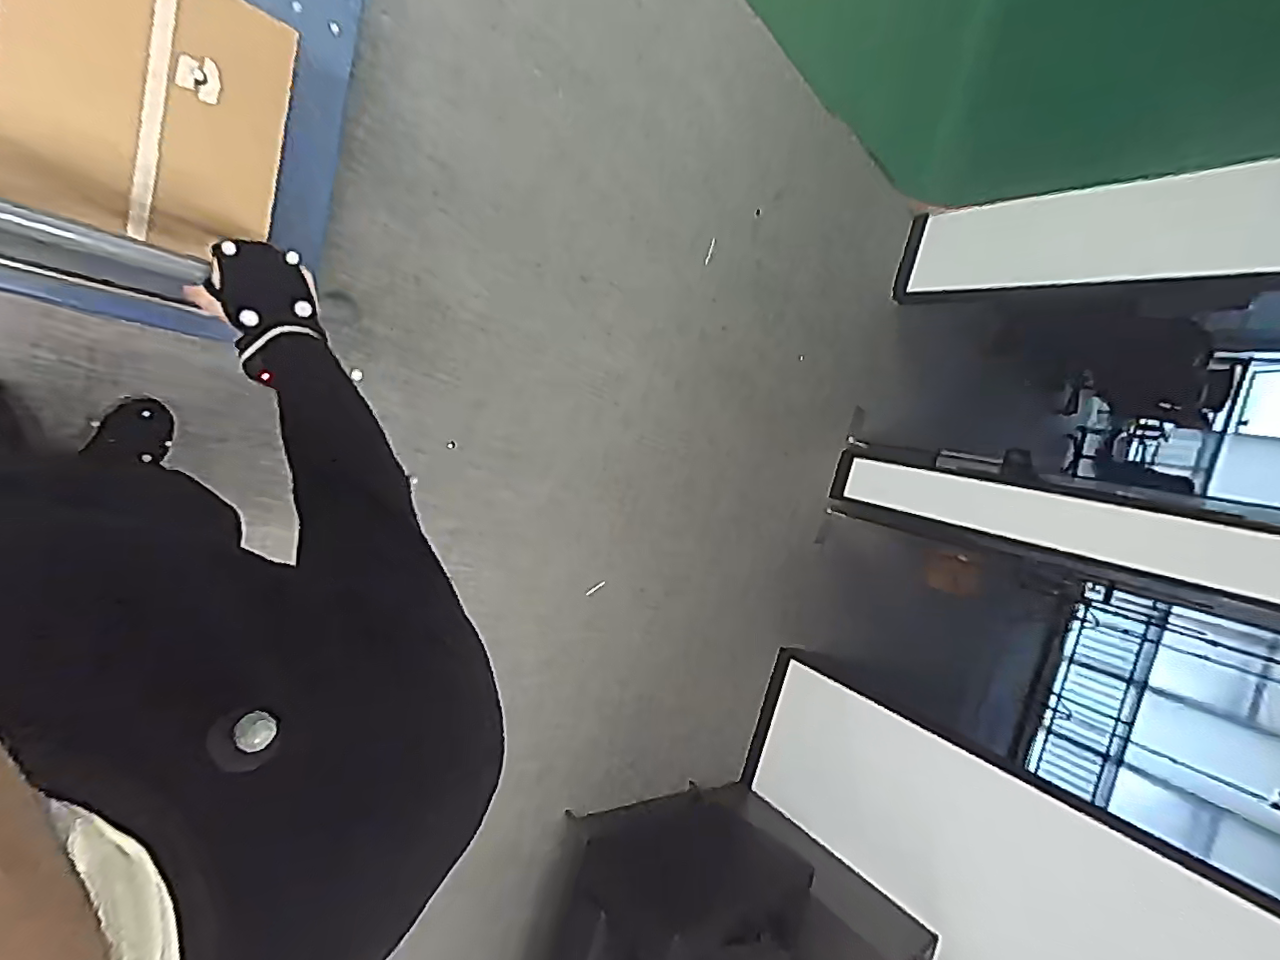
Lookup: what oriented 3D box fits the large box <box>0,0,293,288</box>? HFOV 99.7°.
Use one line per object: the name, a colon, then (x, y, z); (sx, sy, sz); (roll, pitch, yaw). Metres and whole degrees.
large box: (-0.801, -0.574, 0.897); (0.320, 0.320, 0.408); (8, 96, -41)
